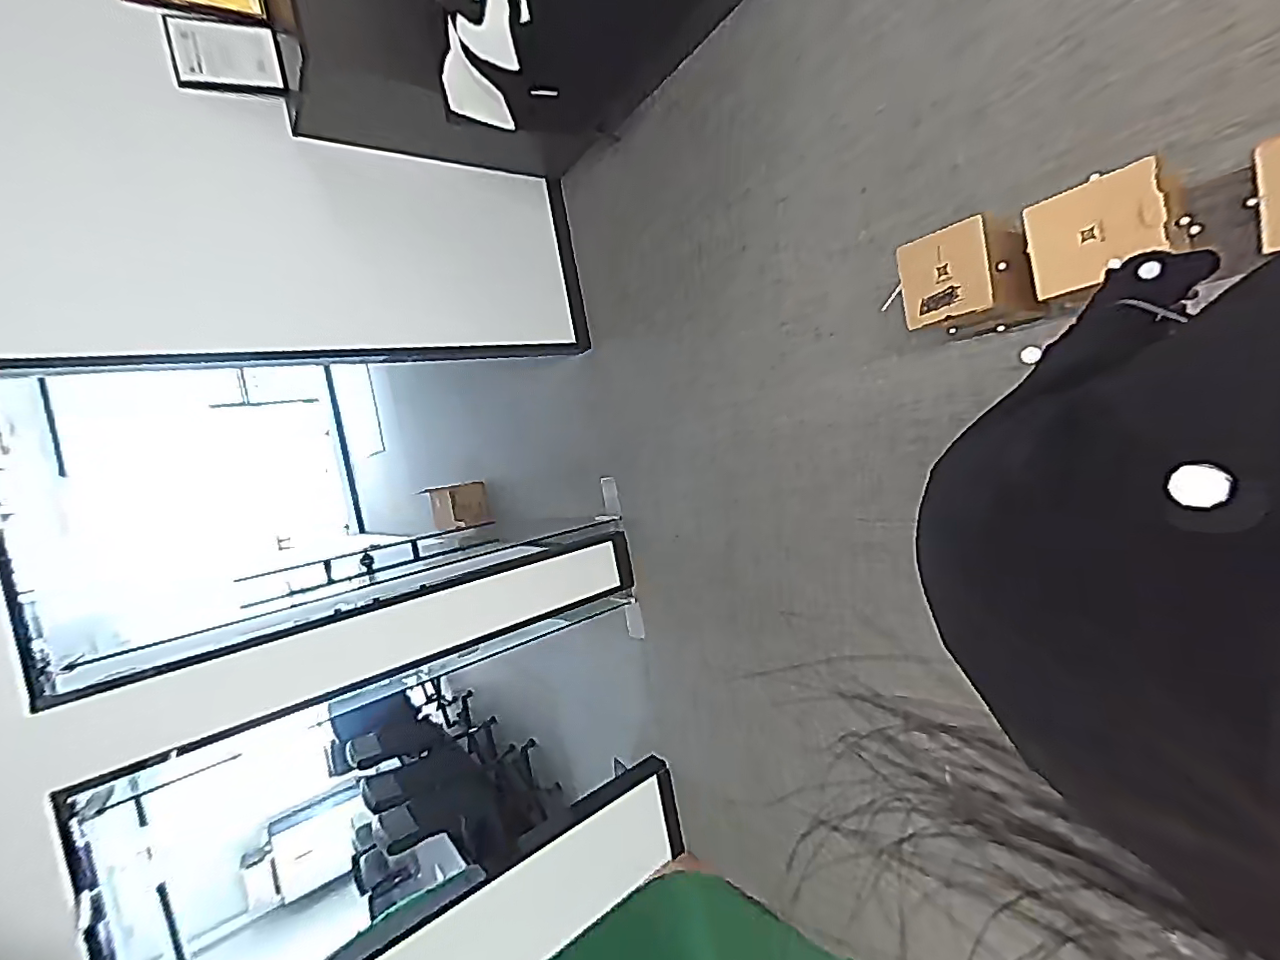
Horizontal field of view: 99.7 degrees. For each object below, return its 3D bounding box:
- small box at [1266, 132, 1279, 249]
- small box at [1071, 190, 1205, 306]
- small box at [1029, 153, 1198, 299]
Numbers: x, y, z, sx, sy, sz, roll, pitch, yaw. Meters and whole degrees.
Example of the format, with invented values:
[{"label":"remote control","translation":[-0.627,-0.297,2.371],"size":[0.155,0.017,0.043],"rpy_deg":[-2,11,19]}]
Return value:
[{"label":"small box","translation":[1.094,-0.463,0.828],"size":[0.168,0.176,0.179],"rpy_deg":[-4,97,54]},{"label":"small box","translation":[0.940,-0.444,1.033],"size":[0.168,0.176,0.179],"rpy_deg":[-8,93,55]},{"label":"small box","translation":[0.814,-0.421,0.932],"size":[0.179,0.176,0.168],"rpy_deg":[-11,92,53]}]
